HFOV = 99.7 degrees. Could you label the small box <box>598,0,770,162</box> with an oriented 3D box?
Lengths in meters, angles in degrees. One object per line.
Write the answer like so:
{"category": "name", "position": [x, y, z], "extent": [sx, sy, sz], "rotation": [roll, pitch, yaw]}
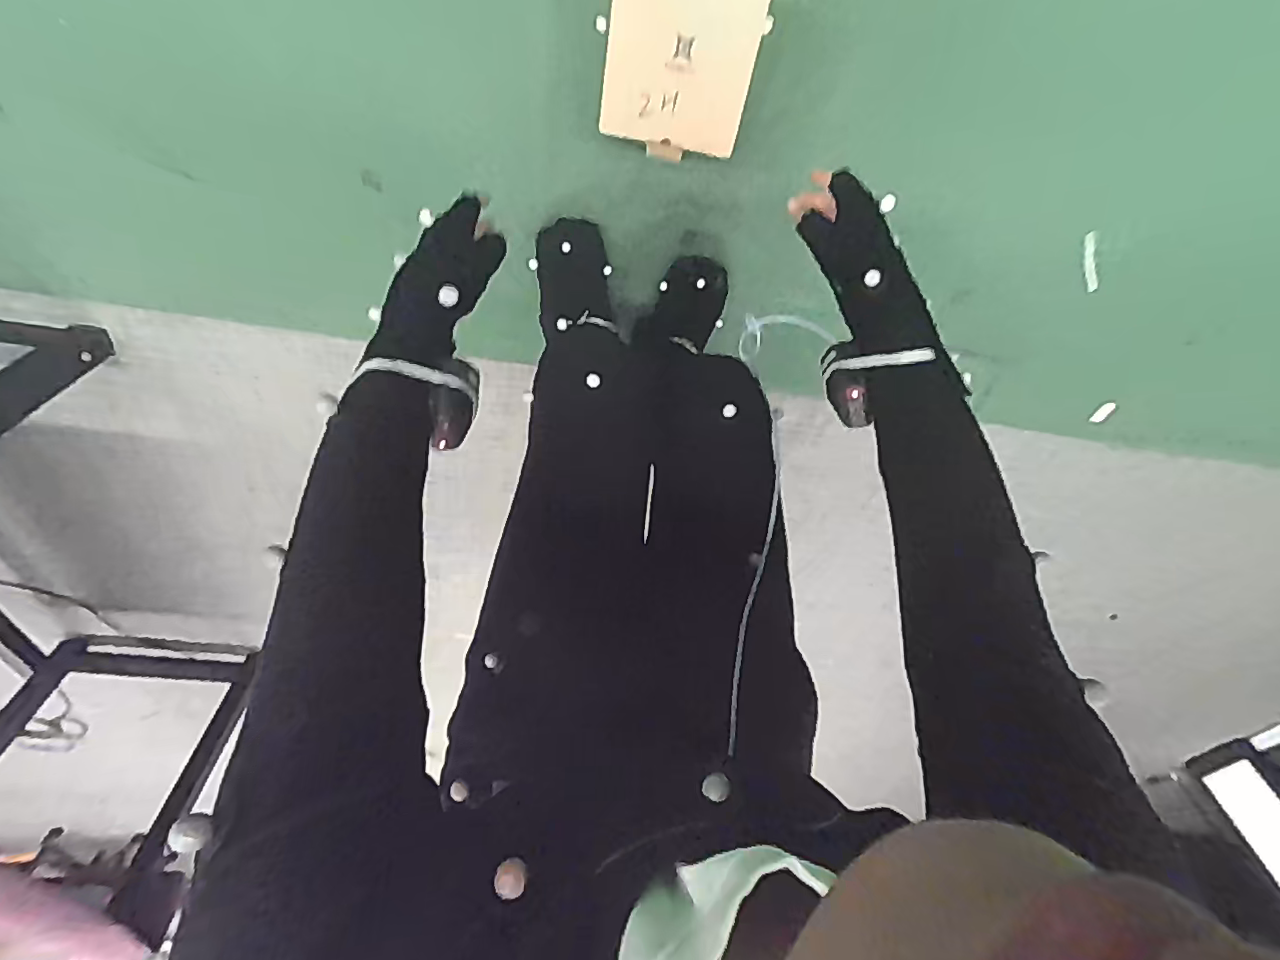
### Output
{"category": "small box", "position": [0.042, -0.519, 0.660], "extent": [0.168, 0.176, 0.179], "rotation": [7, 130, -8]}
